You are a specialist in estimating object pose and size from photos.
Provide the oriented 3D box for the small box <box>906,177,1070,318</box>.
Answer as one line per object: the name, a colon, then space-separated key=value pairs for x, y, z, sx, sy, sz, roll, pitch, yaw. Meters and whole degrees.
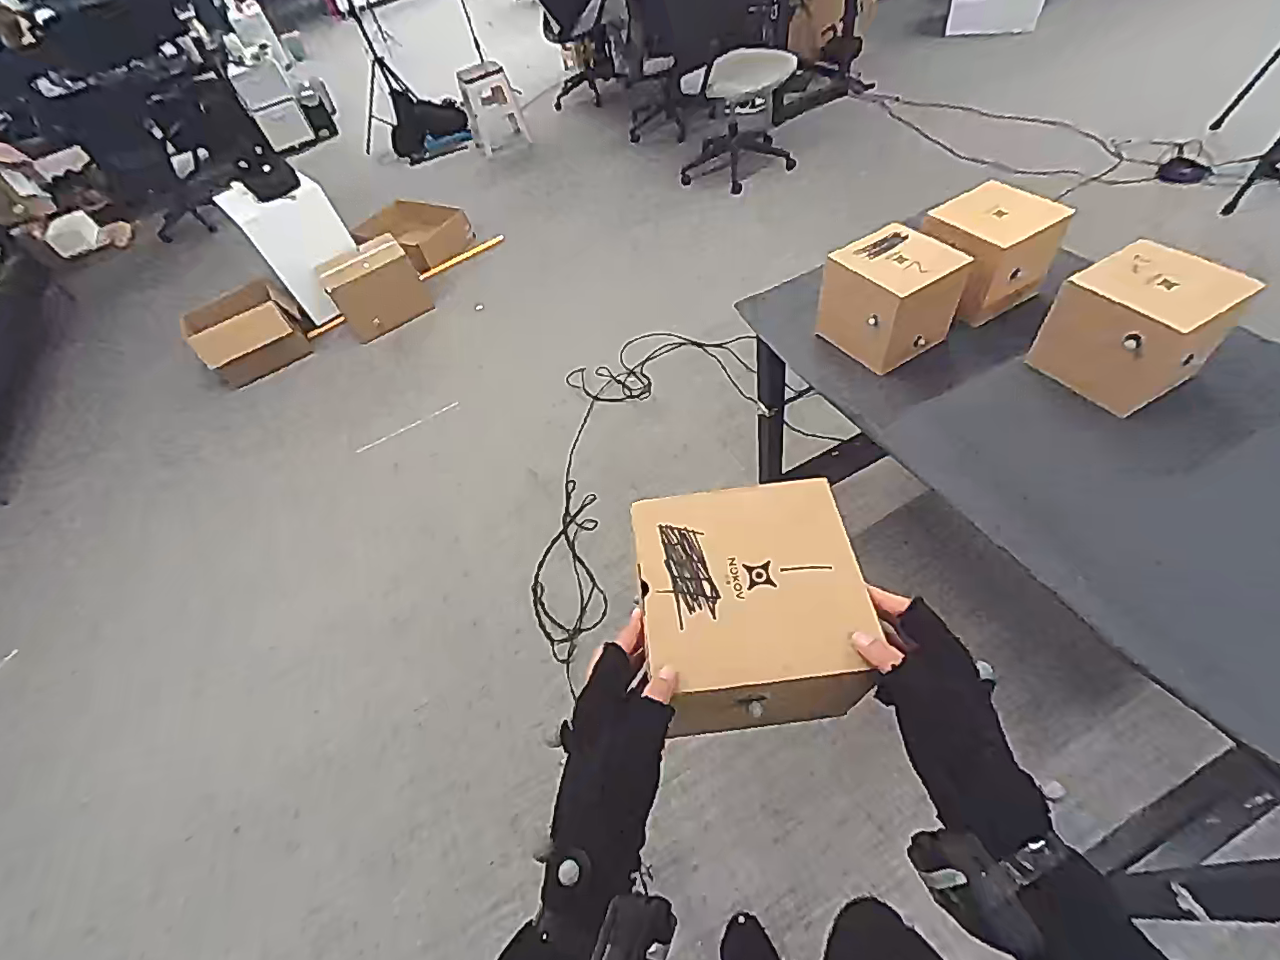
small box: x=0.643 y=-0.433 z=1.024 sx=0.168 sy=0.176 sz=0.179 roll=-29 pitch=52 yaw=-10

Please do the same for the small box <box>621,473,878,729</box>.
small box: x=0.084 y=0.116 z=0.491 sx=0.179 sy=0.176 sz=0.168 roll=-8 pitch=55 yaw=1

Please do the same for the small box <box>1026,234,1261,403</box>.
small box: x=0.764 y=-0.244 z=0.846 sx=0.168 sy=0.176 sz=0.179 roll=-28 pitch=52 yaw=-10
